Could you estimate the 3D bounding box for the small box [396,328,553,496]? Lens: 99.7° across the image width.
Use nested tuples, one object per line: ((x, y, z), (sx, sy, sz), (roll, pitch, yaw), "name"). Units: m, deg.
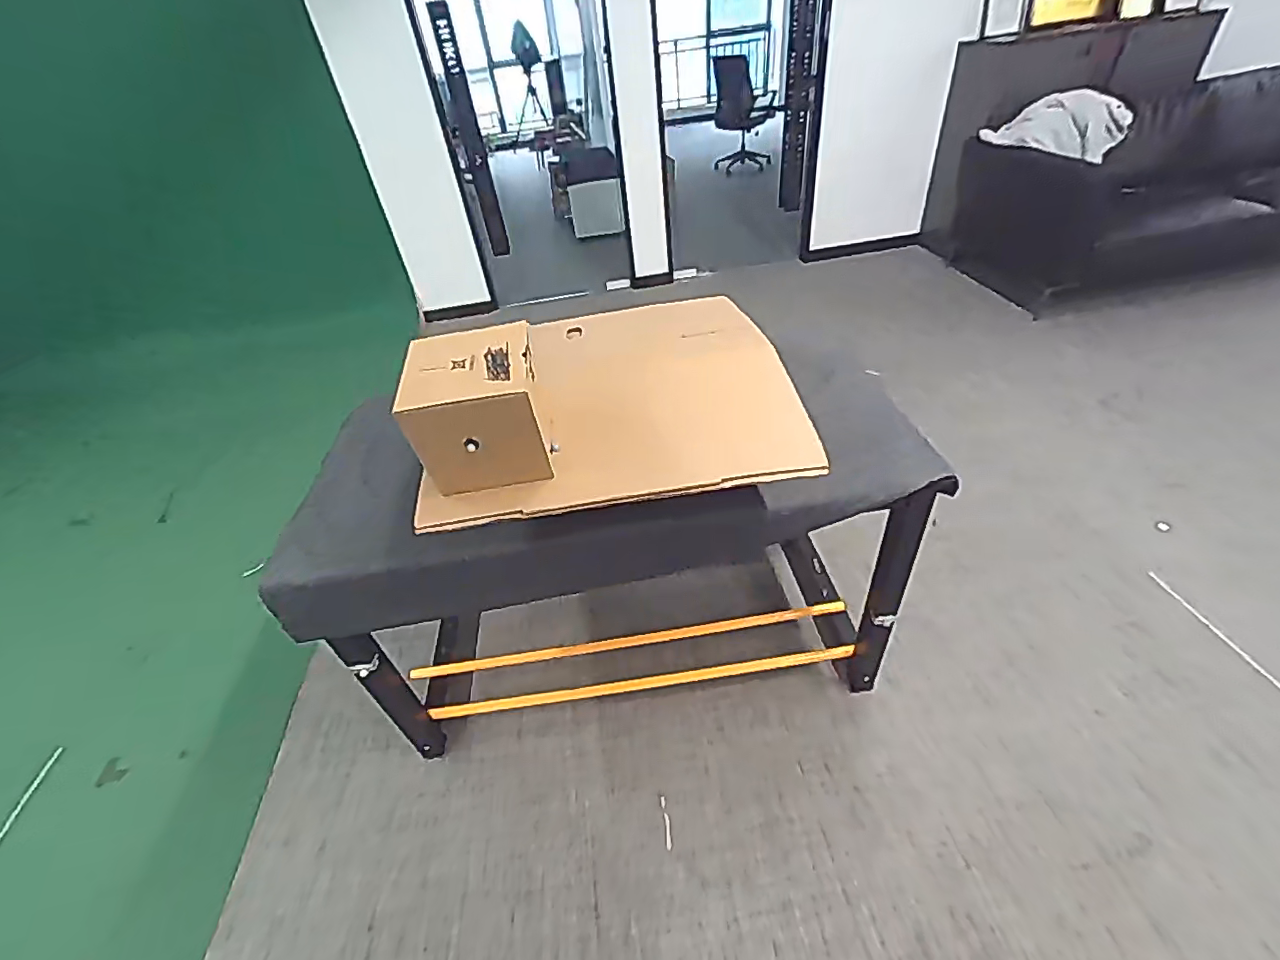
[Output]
((-0.228, -0.097, 0.802), (0.179, 0.176, 0.168), (-10, 48, 0), "small box")
